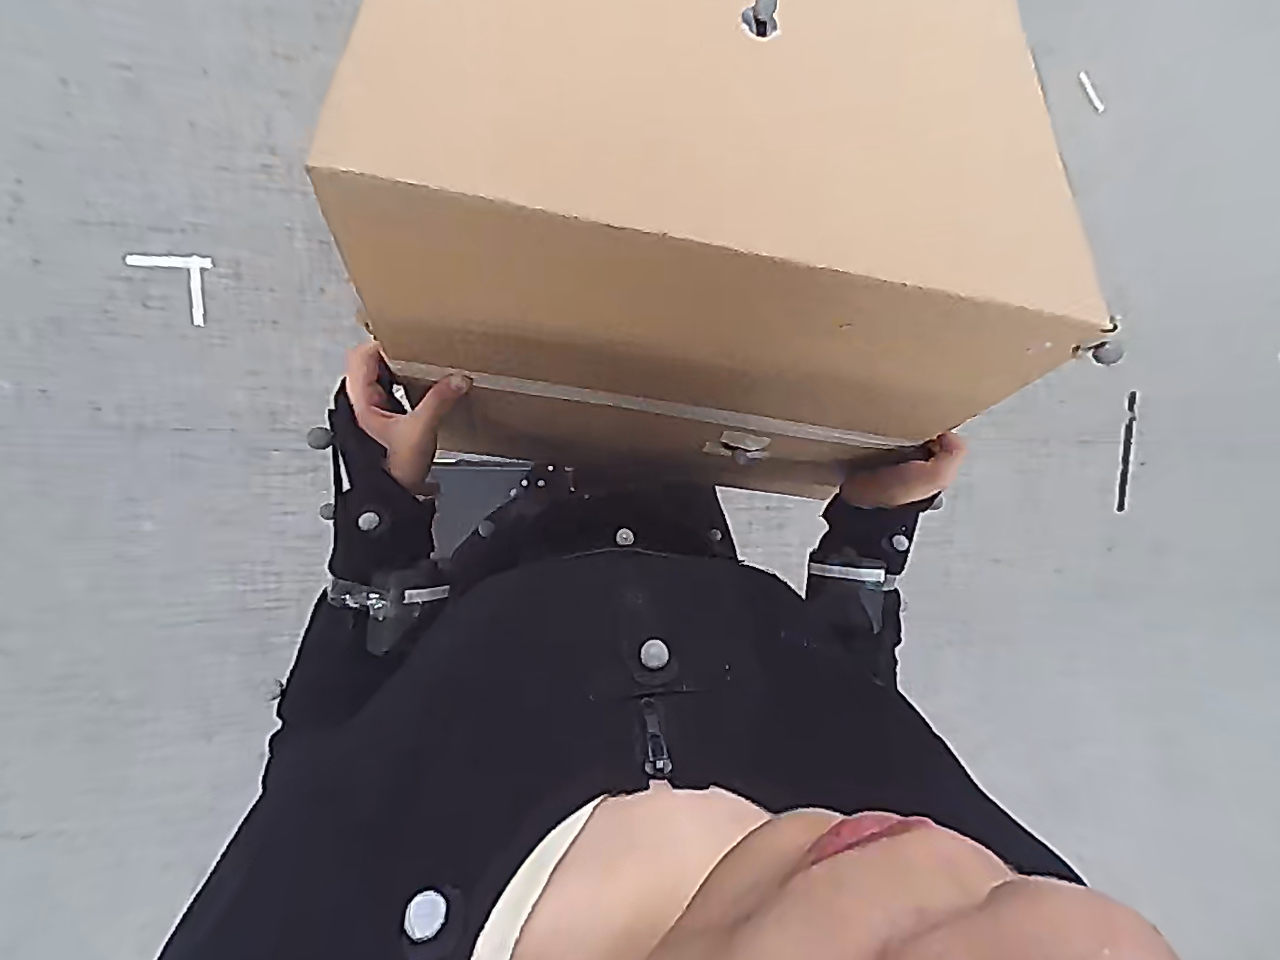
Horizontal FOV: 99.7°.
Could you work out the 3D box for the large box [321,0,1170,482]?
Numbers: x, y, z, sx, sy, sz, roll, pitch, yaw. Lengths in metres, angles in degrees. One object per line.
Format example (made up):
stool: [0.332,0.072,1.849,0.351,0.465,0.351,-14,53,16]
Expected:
large box: [0.048,-0.210,0.427,0.408,0.320,0.320,7,71,-9]

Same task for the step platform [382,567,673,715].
step platform: [-0.261,0.398,1.339,0.684,0.204,0.286,7,92,-10]
